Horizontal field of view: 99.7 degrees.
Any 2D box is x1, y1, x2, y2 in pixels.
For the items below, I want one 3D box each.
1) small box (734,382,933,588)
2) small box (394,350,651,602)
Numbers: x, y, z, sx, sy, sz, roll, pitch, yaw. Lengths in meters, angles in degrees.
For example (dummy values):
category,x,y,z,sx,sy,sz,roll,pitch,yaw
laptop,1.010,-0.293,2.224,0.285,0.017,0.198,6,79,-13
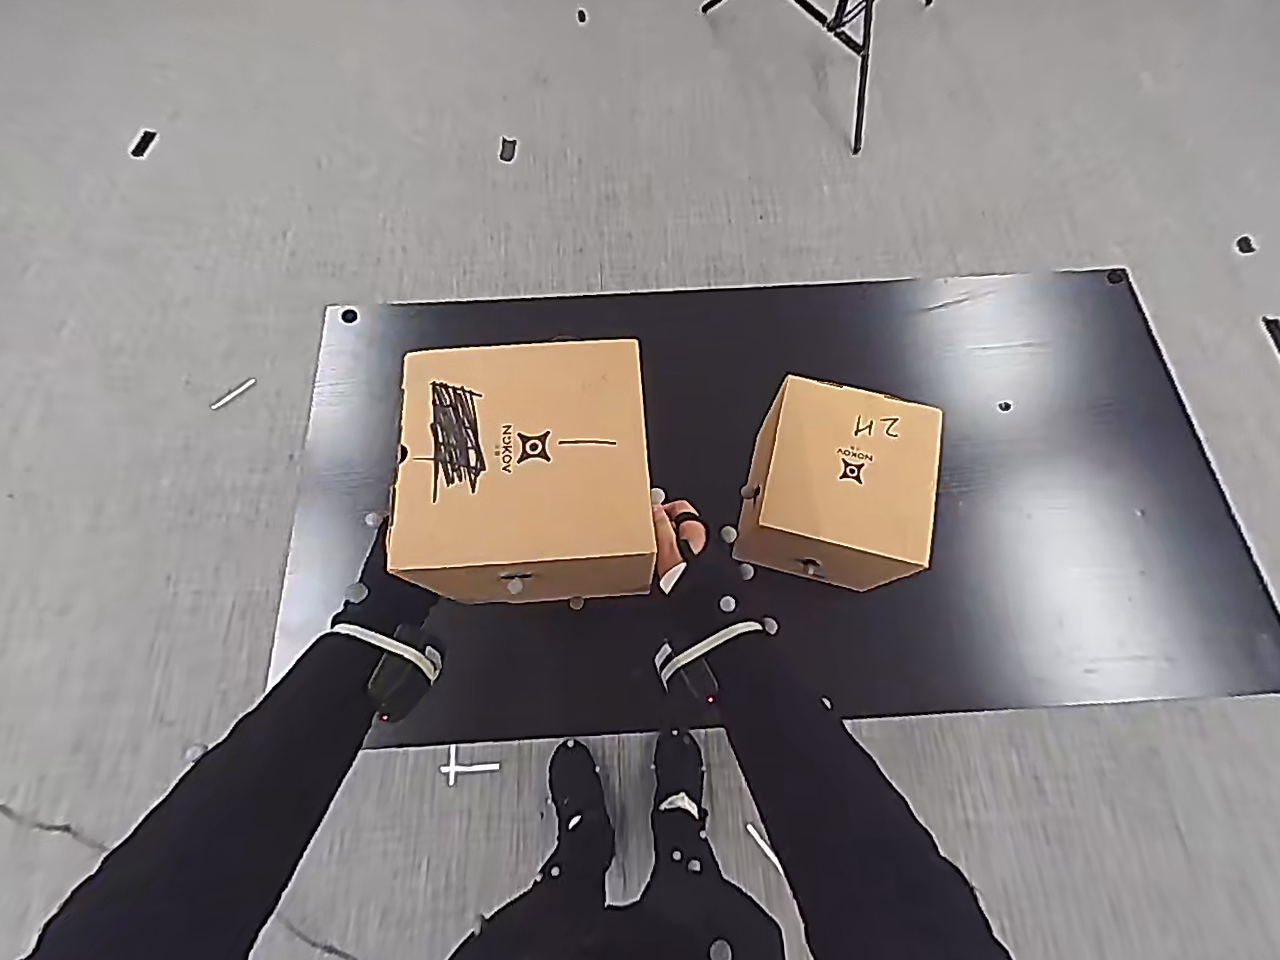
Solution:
category,x,y,z,sx,sy,sz,roll,pitch,yaw
small box,0.213,0.017,0.633,0.168,0.176,0.179,14,70,5
small box,-0.082,0.008,0.463,0.179,0.176,0.168,-4,70,-2
